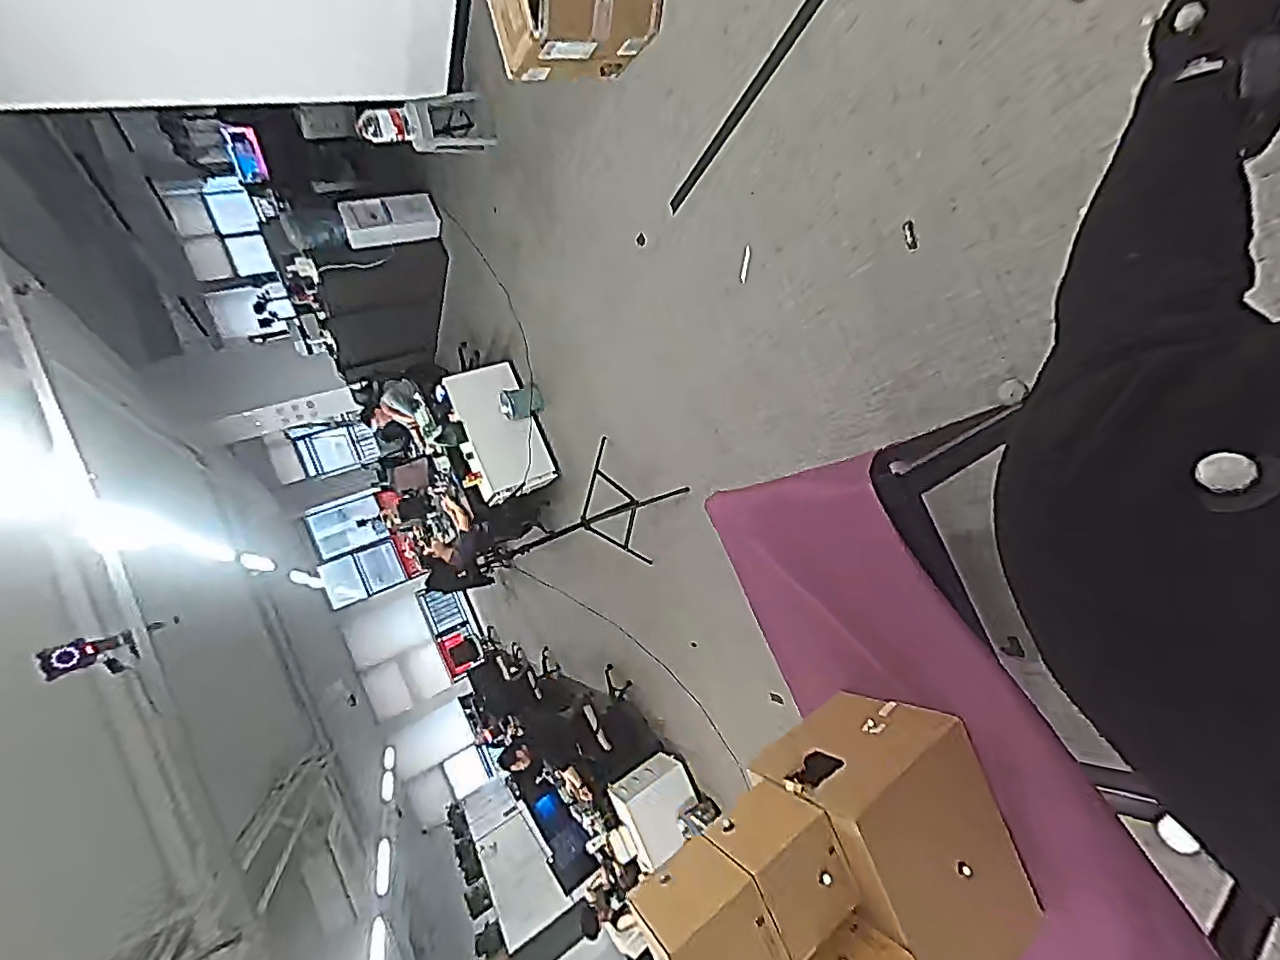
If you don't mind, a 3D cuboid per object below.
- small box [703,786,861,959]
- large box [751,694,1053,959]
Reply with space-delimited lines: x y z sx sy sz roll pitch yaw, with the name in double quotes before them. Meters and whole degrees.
"small box" 0.246 0.678 0.949 0.168 0.176 0.179 65 154 0
"large box" 0.494 0.695 1.056 0.408 0.320 0.320 66 156 1
